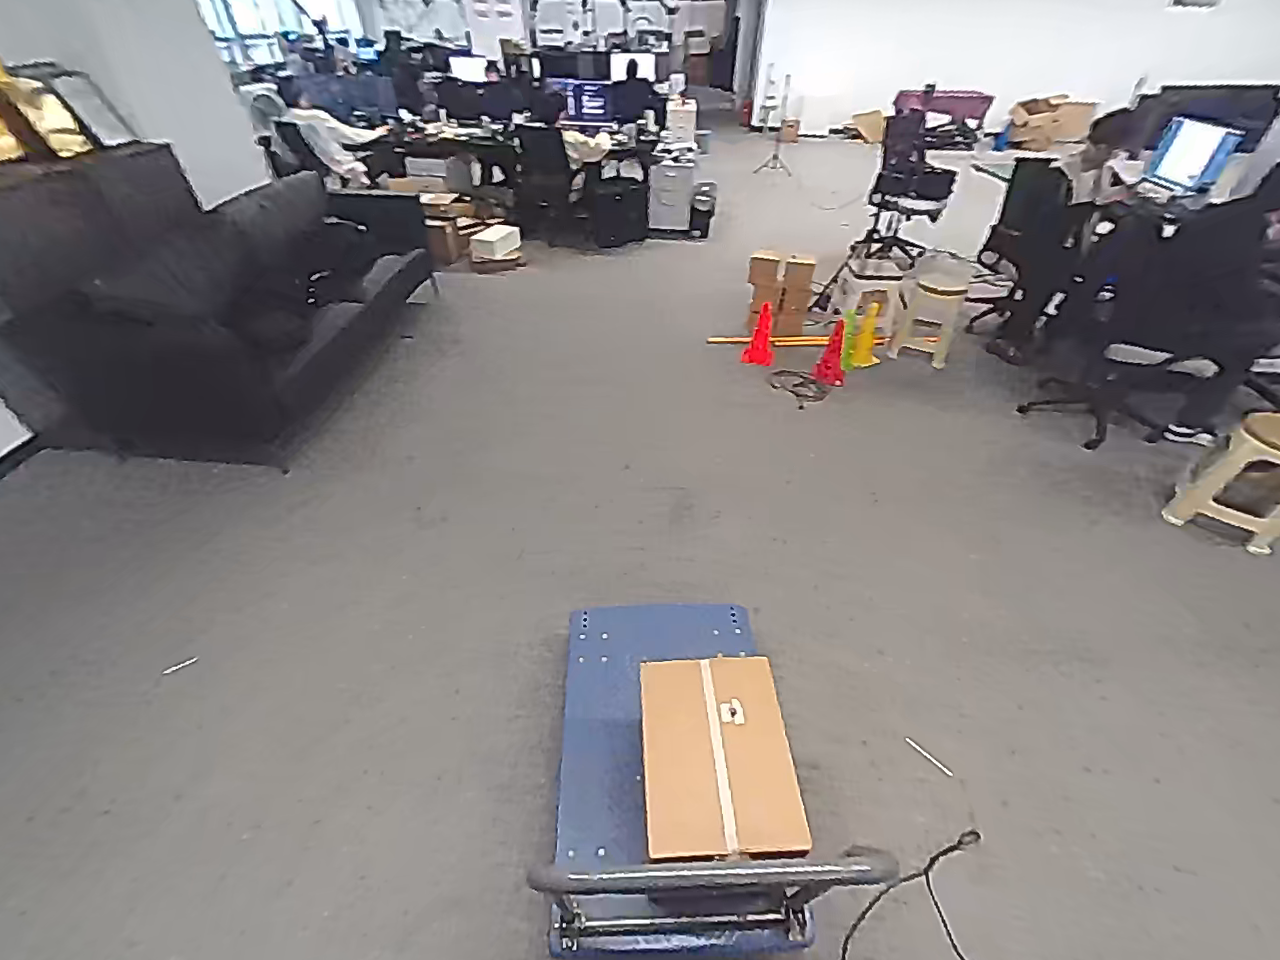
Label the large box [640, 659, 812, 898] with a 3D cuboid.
[{"bbox_3d":[0.167,0.686,1.263,0.320,0.320,0.408,-1,41,-2],"label":"large box"}]
